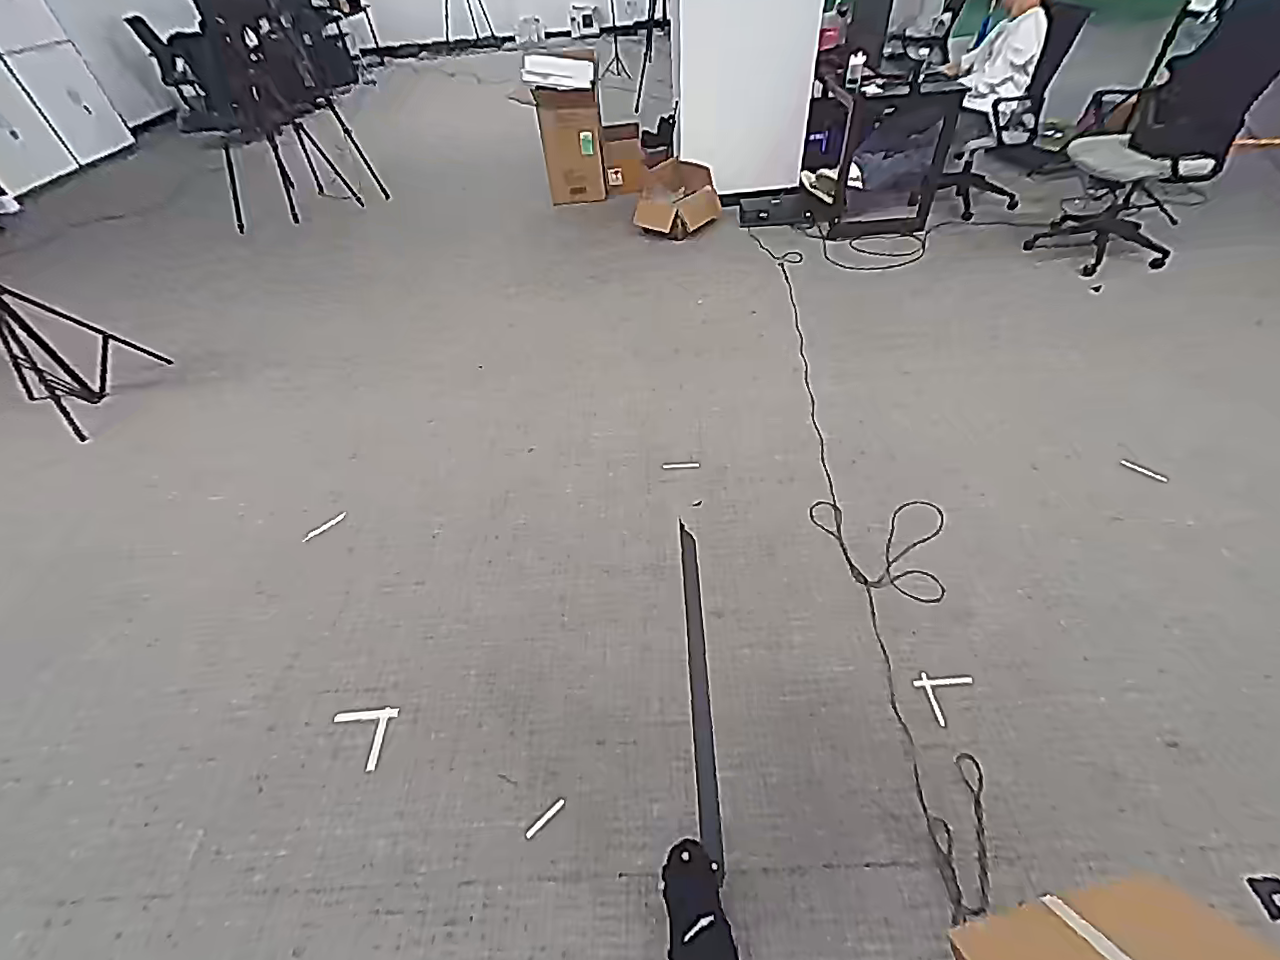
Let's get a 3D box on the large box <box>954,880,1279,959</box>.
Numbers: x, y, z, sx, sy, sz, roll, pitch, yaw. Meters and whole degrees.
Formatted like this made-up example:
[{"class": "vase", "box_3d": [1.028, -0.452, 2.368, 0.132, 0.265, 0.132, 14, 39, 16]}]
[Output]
[{"class": "large box", "box_3d": [0.624, 0.725, 0.556, 0.320, 0.408, 0.320, -16, 82, -1]}]
